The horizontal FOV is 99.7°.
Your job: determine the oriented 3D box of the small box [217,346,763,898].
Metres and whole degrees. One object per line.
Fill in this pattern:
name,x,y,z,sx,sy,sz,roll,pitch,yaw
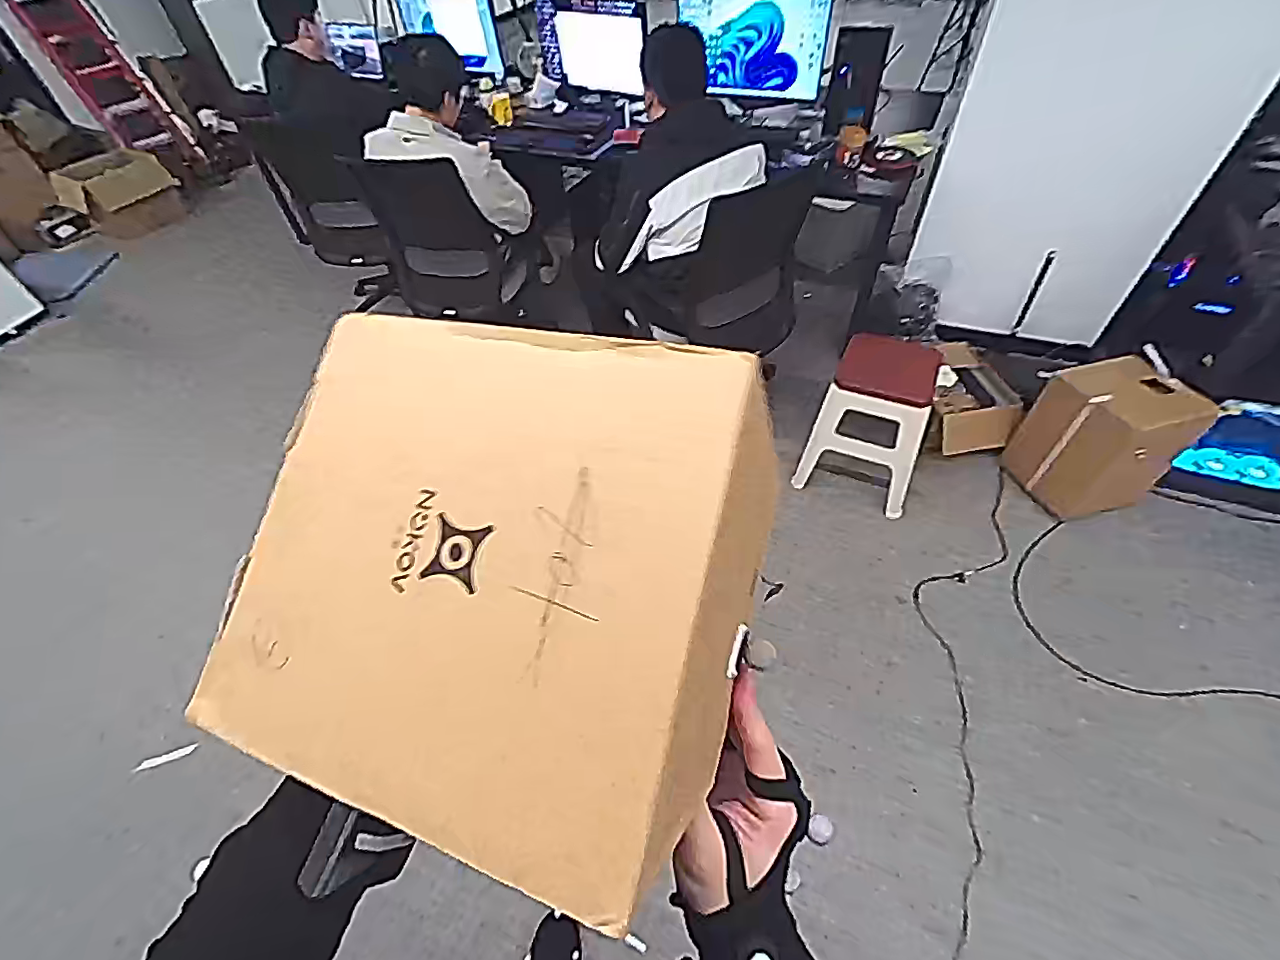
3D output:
small box,-0.044,0.050,0.270,0.179,0.176,0.168,9,79,19
